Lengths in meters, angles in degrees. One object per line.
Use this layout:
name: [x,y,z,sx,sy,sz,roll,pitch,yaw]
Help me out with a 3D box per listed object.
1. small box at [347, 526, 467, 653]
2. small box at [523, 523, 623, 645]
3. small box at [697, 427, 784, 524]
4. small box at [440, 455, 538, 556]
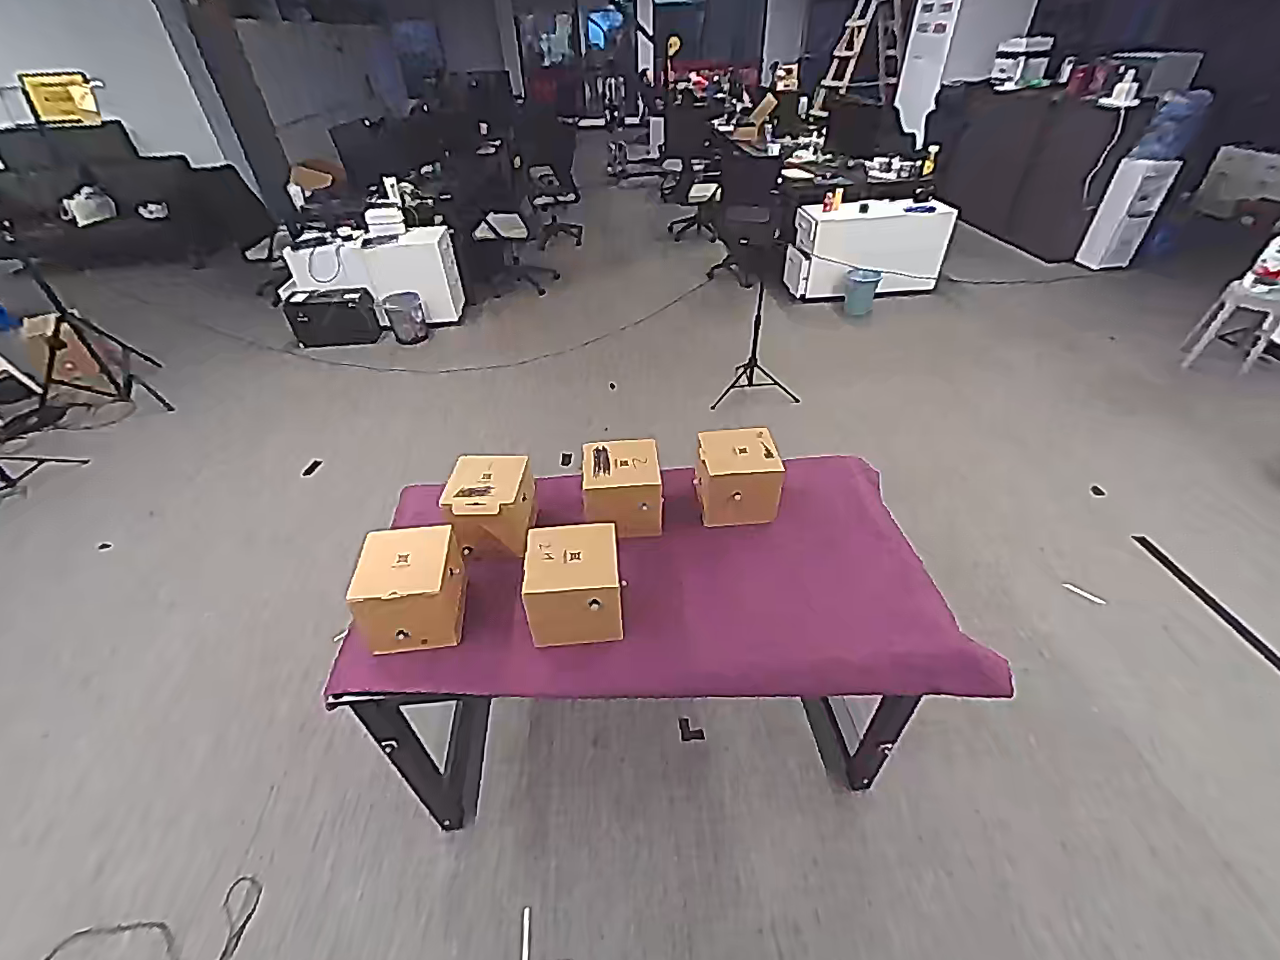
small box: [-0.447,0.215,1.072,0.168,0.176,0.179,-5,40,-6]
small box: [-0.125,0.206,1.068,0.179,0.176,0.168,-5,40,-2]
small box: [0.234,-0.009,1.306,0.179,0.176,0.168,-5,42,-1]
small box: [-0.339,0.061,1.254,0.168,0.176,0.179,0,40,2]
